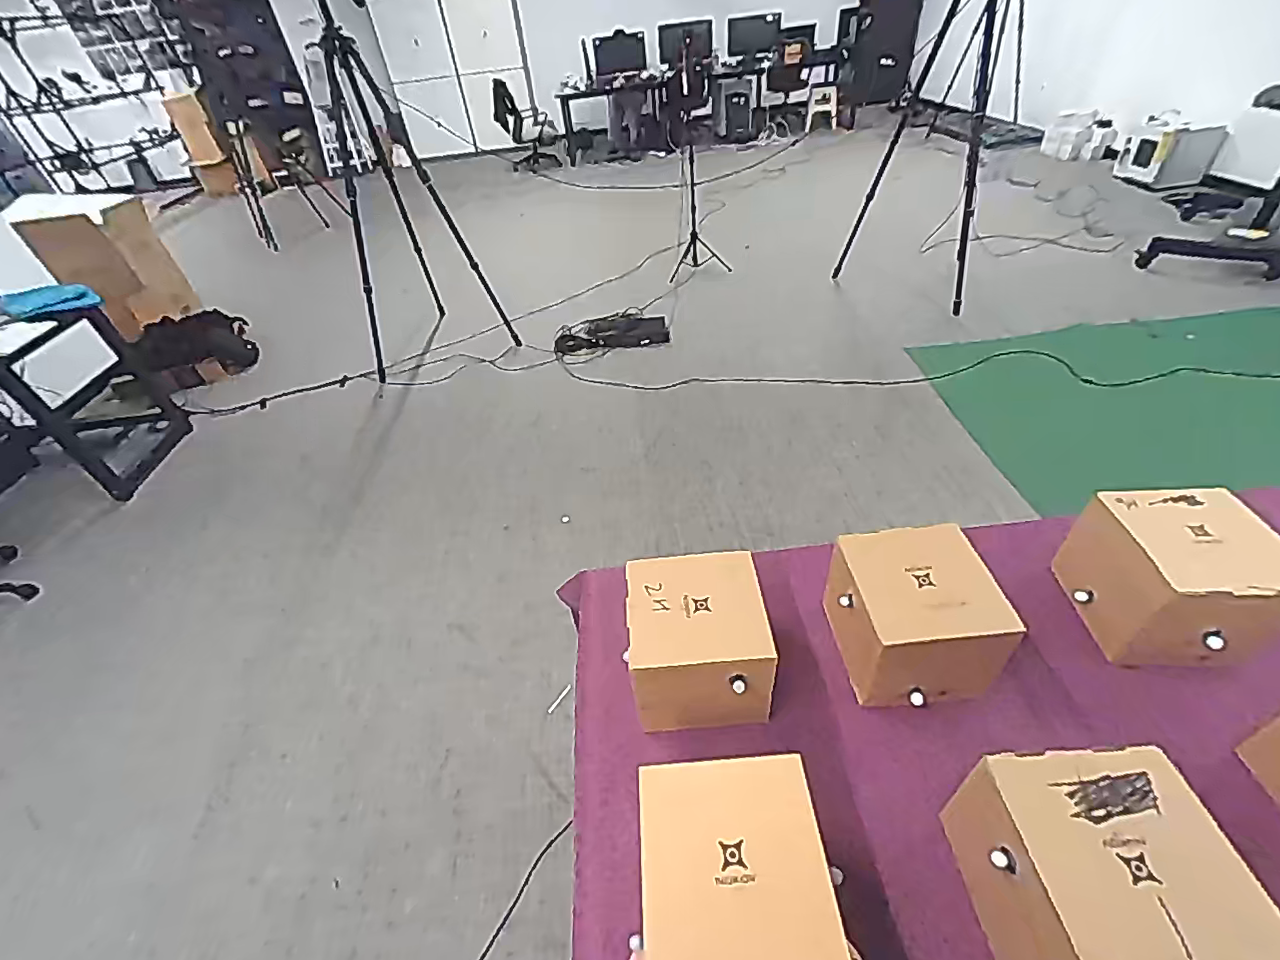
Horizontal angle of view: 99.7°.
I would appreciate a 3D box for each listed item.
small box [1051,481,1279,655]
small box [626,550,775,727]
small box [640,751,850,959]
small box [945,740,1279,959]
[{"bbox_3d":[0.714,0.123,0.735,0.168,0.176,0.179,-2,43,7],"label":"small box"},{"bbox_3d":[0.077,0.218,0.742,0.179,0.176,0.168,-6,41,3],"label":"small box"},{"bbox_3d":[0.090,0.398,0.538,0.168,0.176,0.179,-6,42,2],"label":"small box"},{"bbox_3d":[0.419,0.371,0.507,0.168,0.176,0.179,-6,41,4],"label":"small box"}]
